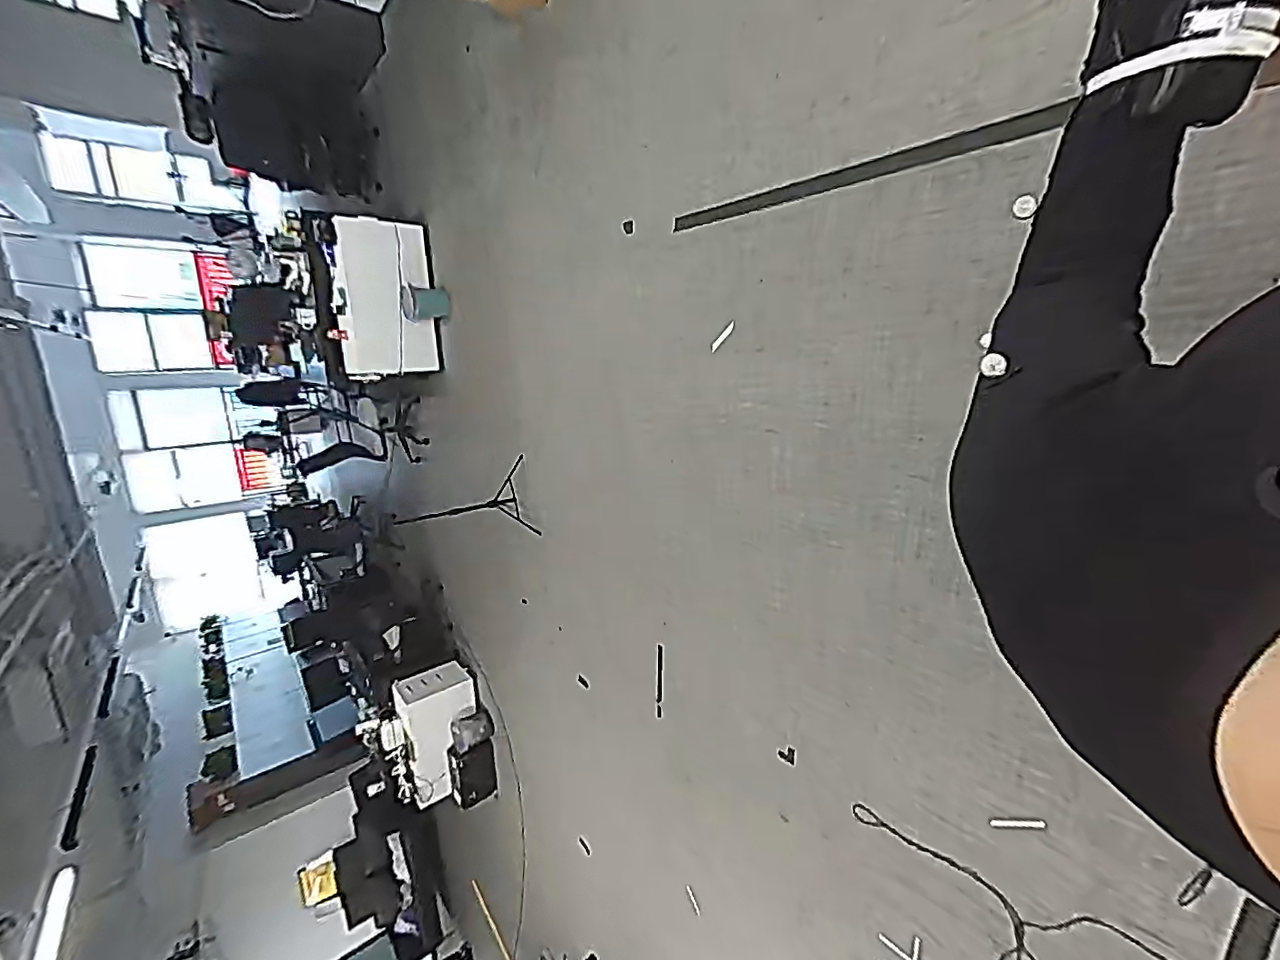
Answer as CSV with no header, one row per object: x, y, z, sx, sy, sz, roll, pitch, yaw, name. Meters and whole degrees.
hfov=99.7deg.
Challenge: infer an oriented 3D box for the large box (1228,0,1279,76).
0.600,-0.450,0.245,0.408,0.320,0.320,17,121,46,large box
